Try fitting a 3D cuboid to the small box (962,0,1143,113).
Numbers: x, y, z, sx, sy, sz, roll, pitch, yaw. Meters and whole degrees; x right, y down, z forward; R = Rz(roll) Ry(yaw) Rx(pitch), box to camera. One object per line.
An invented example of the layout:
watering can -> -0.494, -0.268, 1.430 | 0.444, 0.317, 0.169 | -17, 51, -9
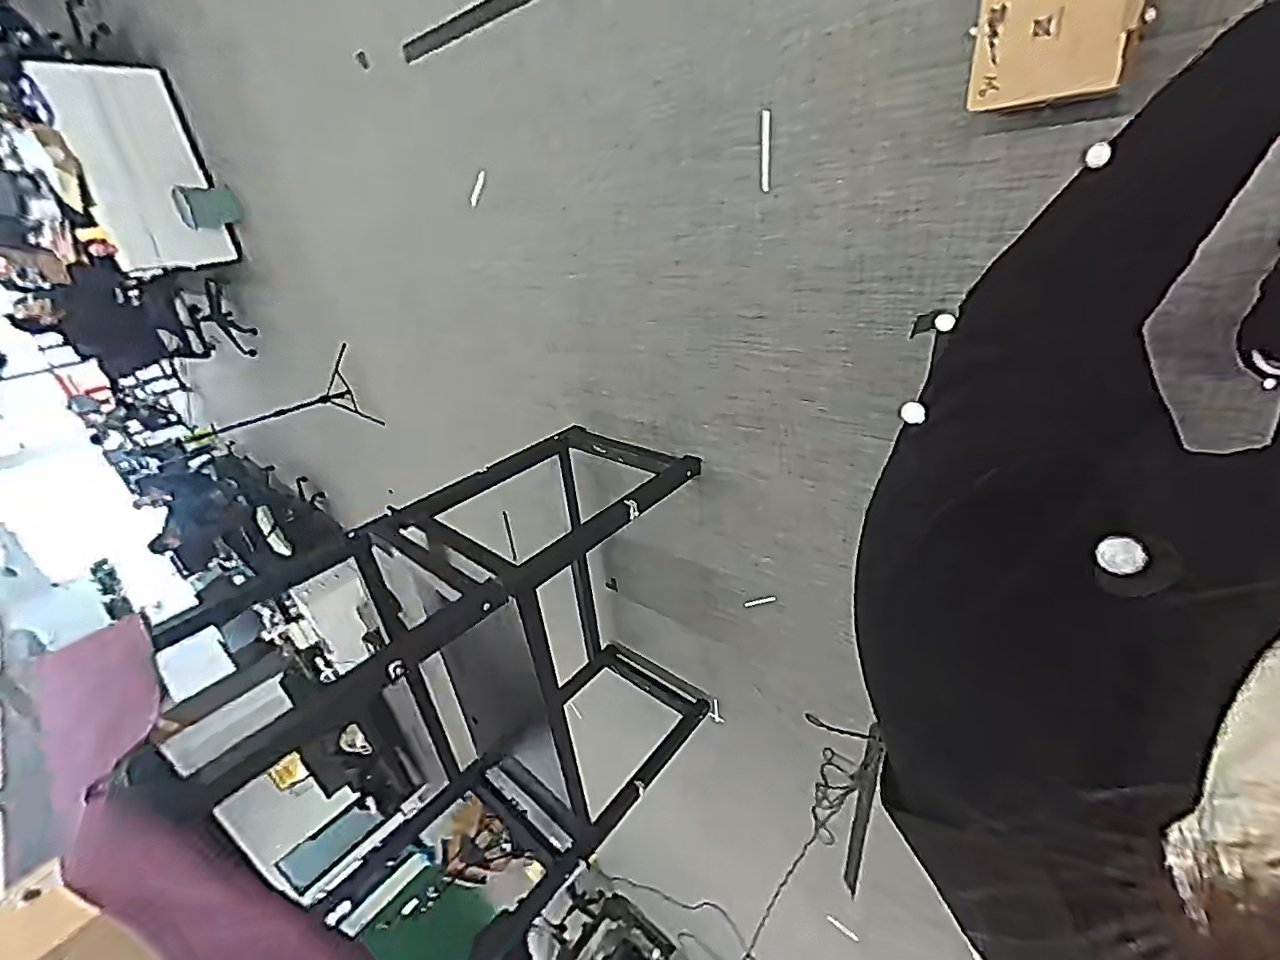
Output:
small box -> 0.581, -0.626, 0.756 | 0.179, 0.176, 0.168 | 17, 127, 37
